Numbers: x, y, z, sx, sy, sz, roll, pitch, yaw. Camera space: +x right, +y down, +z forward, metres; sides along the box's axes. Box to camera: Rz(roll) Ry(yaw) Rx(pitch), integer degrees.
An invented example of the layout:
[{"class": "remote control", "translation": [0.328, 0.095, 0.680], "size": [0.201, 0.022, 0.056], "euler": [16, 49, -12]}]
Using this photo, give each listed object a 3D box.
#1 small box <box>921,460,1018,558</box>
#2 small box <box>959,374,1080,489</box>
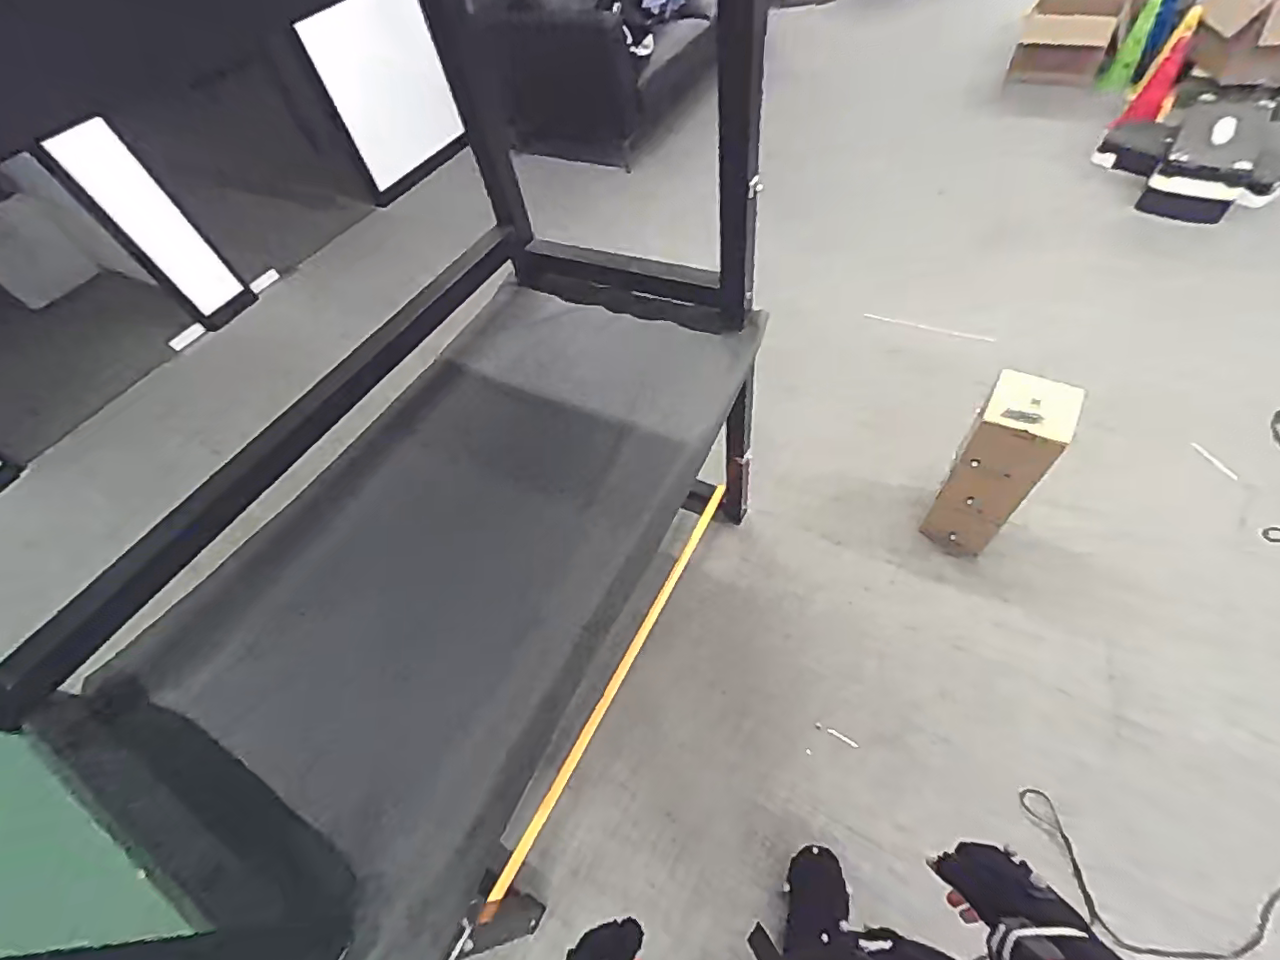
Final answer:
[{"class": "small box", "translation": [0.910, 0.082, 1.508], "size": [0.168, 0.176, 0.179], "euler": [26, 63, 26]}, {"class": "small box", "translation": [0.864, -0.108, 1.246], "size": [0.168, 0.176, 0.179], "euler": [24, 62, 24]}]
